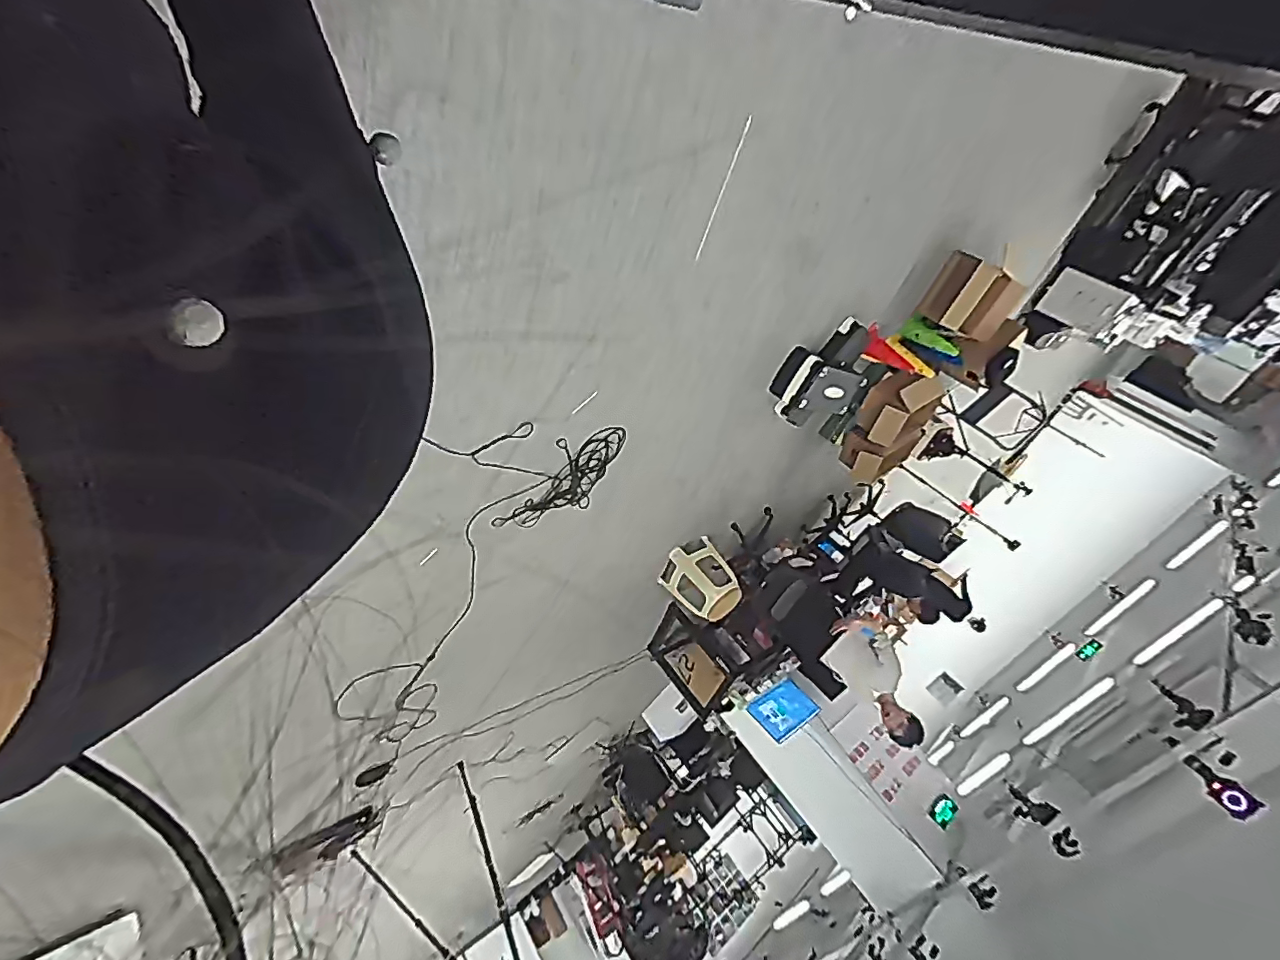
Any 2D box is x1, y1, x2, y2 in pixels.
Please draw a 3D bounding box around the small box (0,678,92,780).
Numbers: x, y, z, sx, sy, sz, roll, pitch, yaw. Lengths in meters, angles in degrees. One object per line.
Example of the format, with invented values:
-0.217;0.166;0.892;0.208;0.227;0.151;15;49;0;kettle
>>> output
-1.663;0.677;1.494;0.168;0.176;0.179;-17;139;-35;small box
